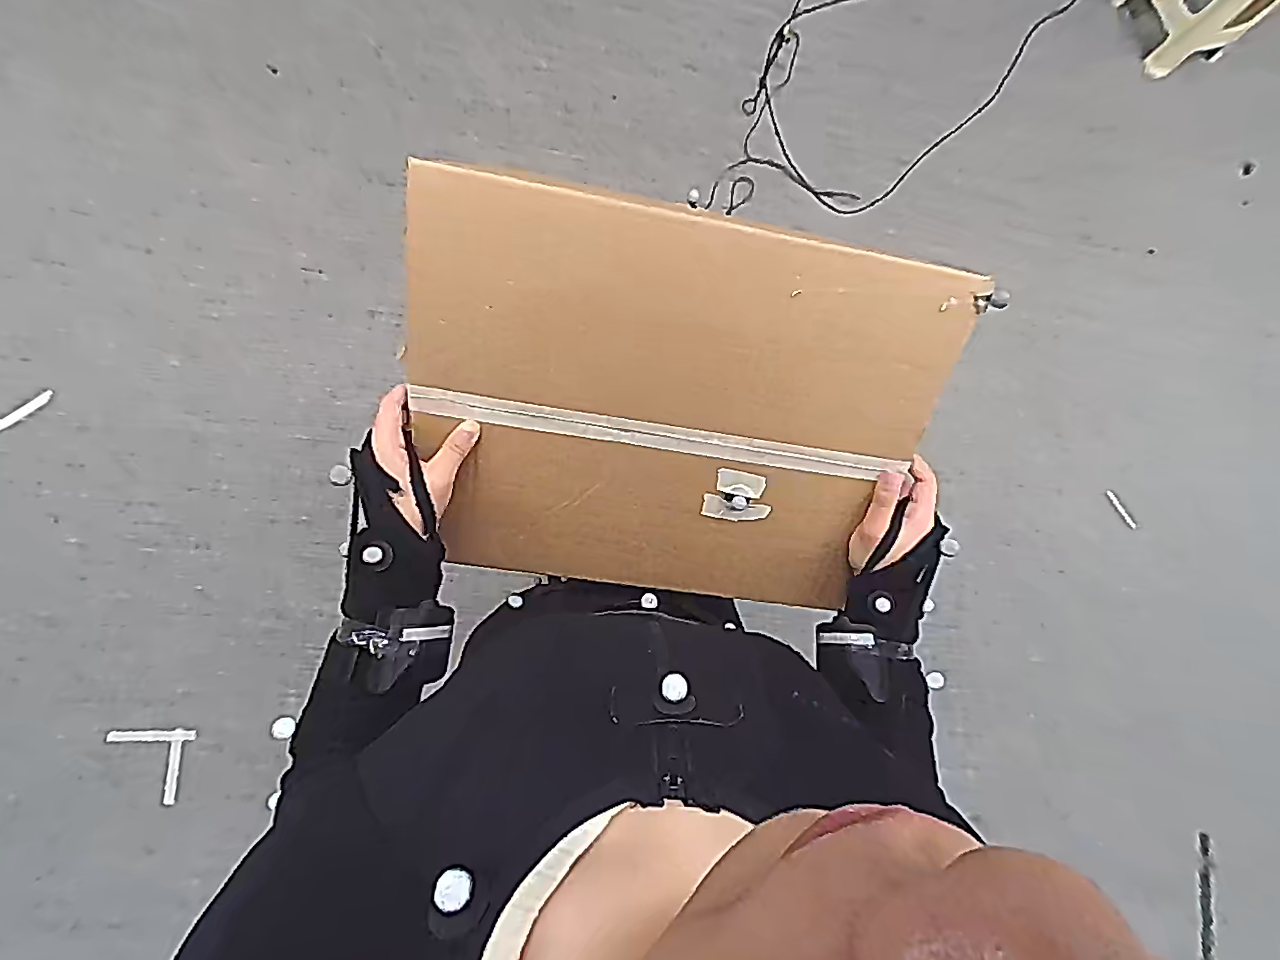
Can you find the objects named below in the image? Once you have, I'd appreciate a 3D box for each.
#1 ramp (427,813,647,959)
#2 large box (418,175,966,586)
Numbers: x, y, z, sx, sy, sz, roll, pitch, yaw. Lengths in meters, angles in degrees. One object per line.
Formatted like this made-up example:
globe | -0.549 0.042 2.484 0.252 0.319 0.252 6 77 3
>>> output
ramp | -0.240 1.286 1.161 0.509 0.206 0.991 3 82 -8
large box | 0.016 -0.118 0.577 0.408 0.320 0.320 7 119 -8
